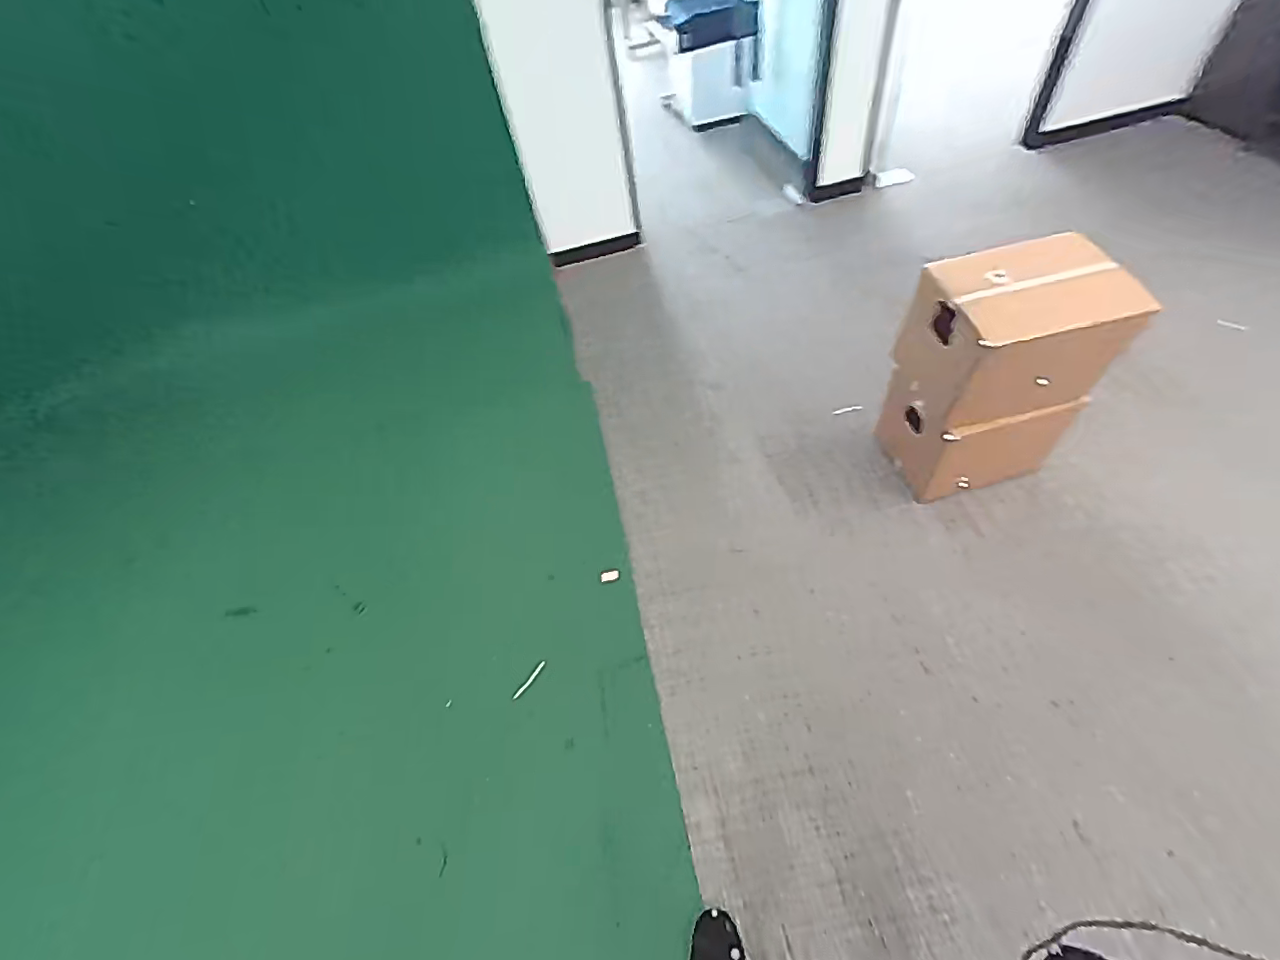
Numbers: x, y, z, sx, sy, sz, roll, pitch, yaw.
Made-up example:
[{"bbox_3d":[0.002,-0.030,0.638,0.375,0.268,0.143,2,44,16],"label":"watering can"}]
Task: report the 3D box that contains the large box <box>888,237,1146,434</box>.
[{"bbox_3d":[0.942,-0.369,1.419,0.408,0.320,0.320,-14,56,0],"label":"large box"}]
